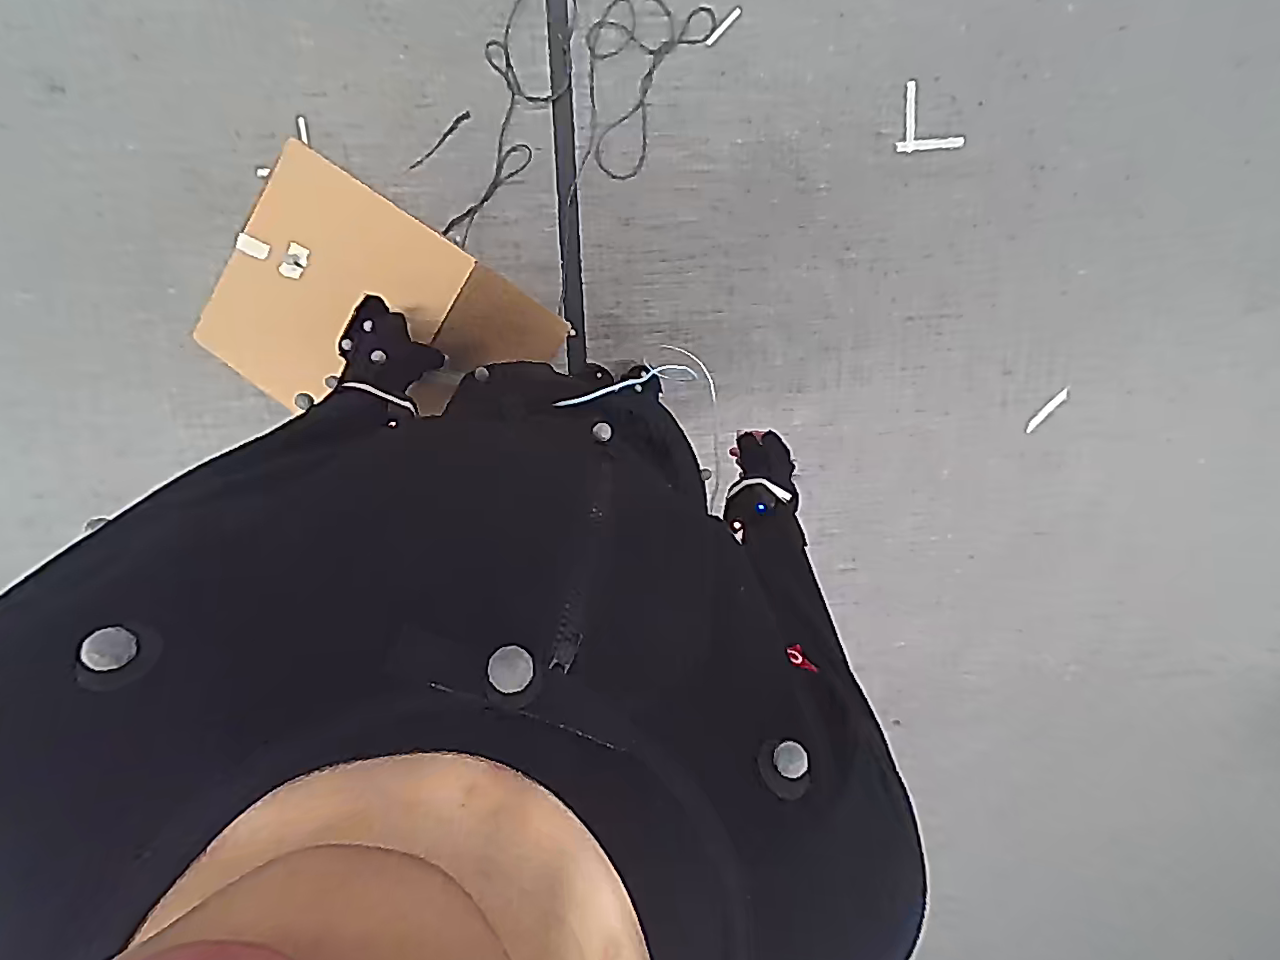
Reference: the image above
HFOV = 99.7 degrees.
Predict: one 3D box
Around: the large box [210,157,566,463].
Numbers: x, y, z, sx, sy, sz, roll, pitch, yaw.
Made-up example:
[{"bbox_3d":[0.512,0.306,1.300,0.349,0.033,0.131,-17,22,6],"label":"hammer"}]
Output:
[{"bbox_3d":[-0.385,-0.251,0.920,0.320,0.408,0.320,34,100,5],"label":"large box"}]
